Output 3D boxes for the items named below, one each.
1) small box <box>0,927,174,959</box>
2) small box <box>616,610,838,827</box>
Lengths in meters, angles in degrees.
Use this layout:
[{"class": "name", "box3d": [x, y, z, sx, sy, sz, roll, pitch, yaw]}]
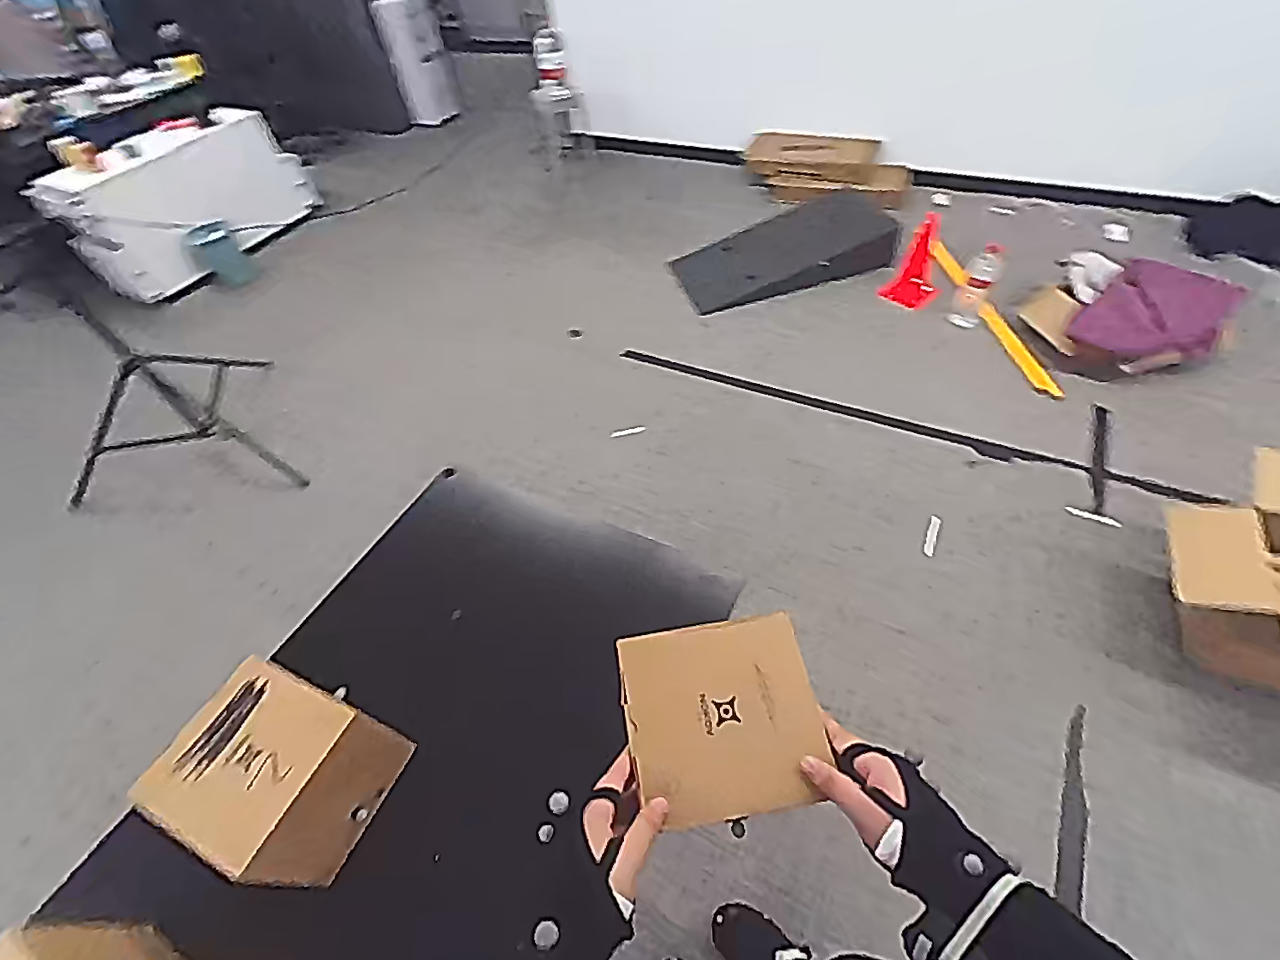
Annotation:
[{"class": "small box", "box3d": [-0.543, 0.551, 0.490, 0.179, 0.176, 0.168, 20, 56, 21]}, {"class": "small box", "box3d": [0.076, 0.253, 0.563, 0.179, 0.176, 0.168, -8, 58, -4]}]
